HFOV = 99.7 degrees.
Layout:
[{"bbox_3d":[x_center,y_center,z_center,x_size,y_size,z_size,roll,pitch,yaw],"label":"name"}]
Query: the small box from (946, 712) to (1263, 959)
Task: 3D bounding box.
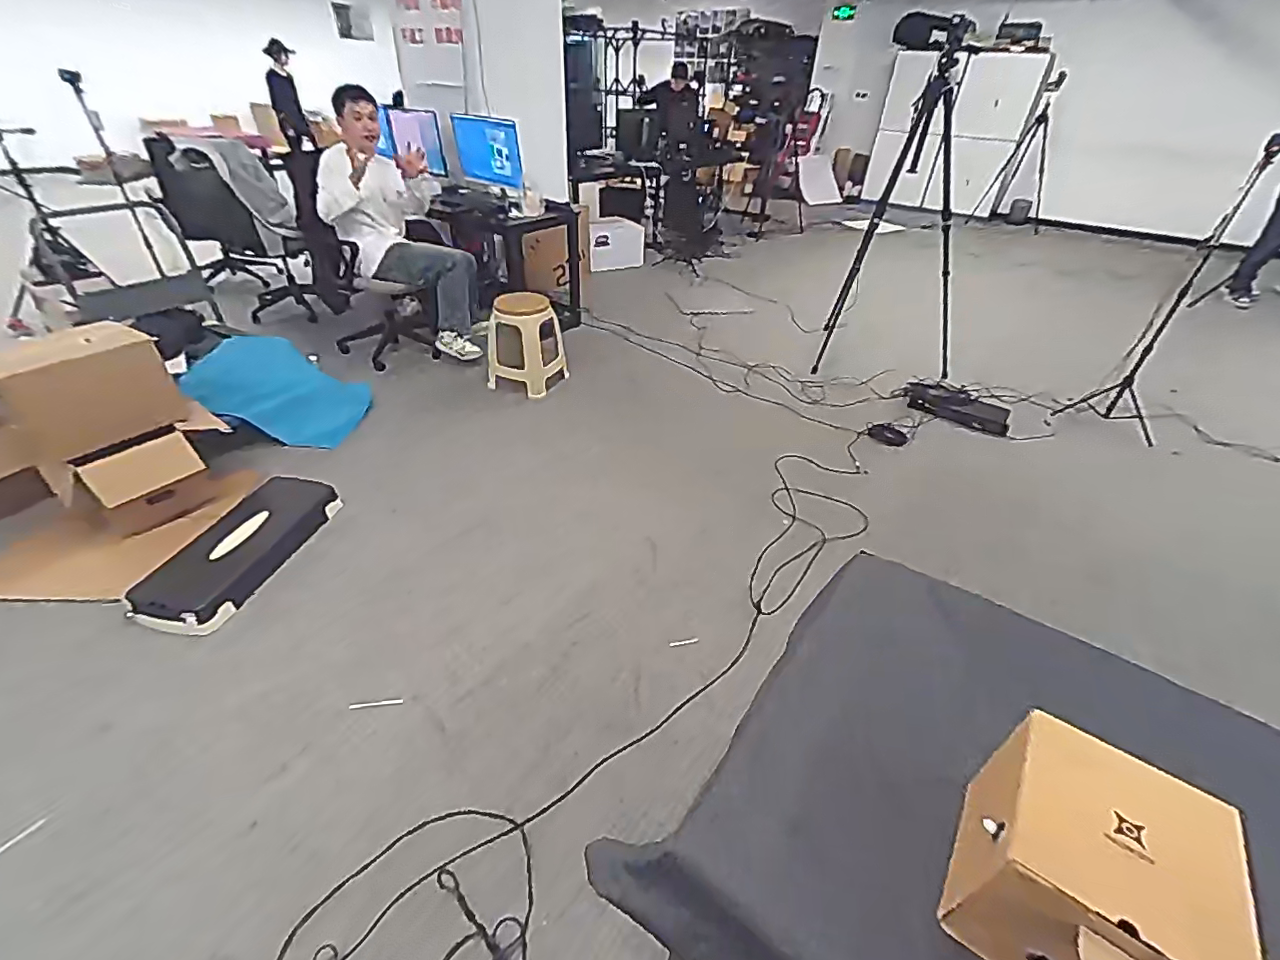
[{"bbox_3d":[0.424,0.375,0.521,0.168,0.176,0.179,25,42,27],"label":"small box"}]
